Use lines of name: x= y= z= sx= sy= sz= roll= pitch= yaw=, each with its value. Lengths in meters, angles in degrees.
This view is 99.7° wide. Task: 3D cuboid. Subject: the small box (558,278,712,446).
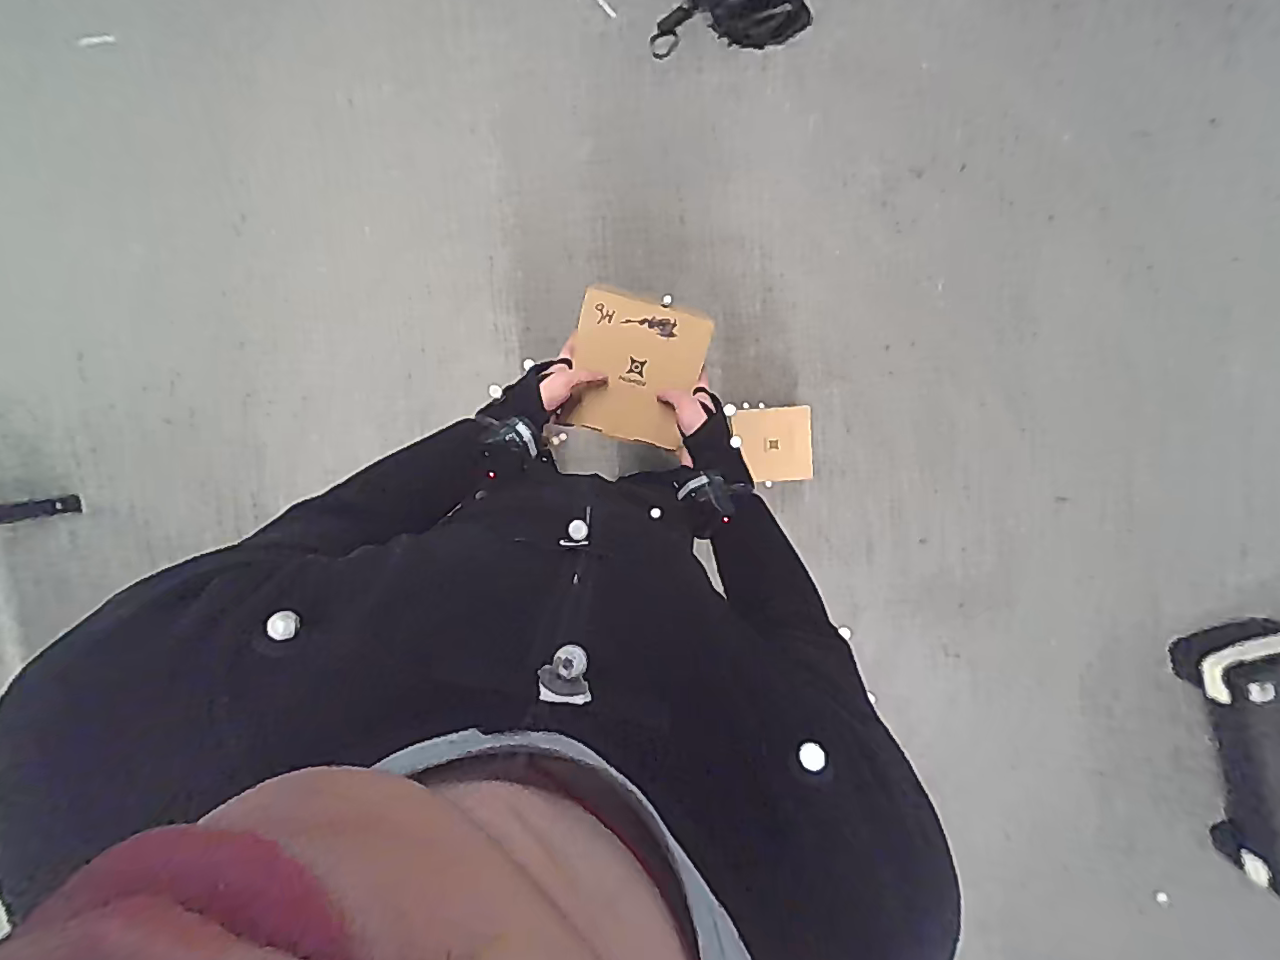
small box: x=-0.006 y=-0.172 z=0.754 sx=0.168 sy=0.176 sz=0.179 roll=13 pitch=113 yaw=-3

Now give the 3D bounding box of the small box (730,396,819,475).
small box: x=0.308 y=-0.107 z=1.270 sx=0.179 sy=0.176 sz=0.168 roll=-5 pitch=98 yaw=4

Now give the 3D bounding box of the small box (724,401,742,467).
small box: x=0.320 y=-0.127 z=1.429 sx=0.179 sy=0.176 sz=0.168 roll=-4 pitch=96 yaw=5
